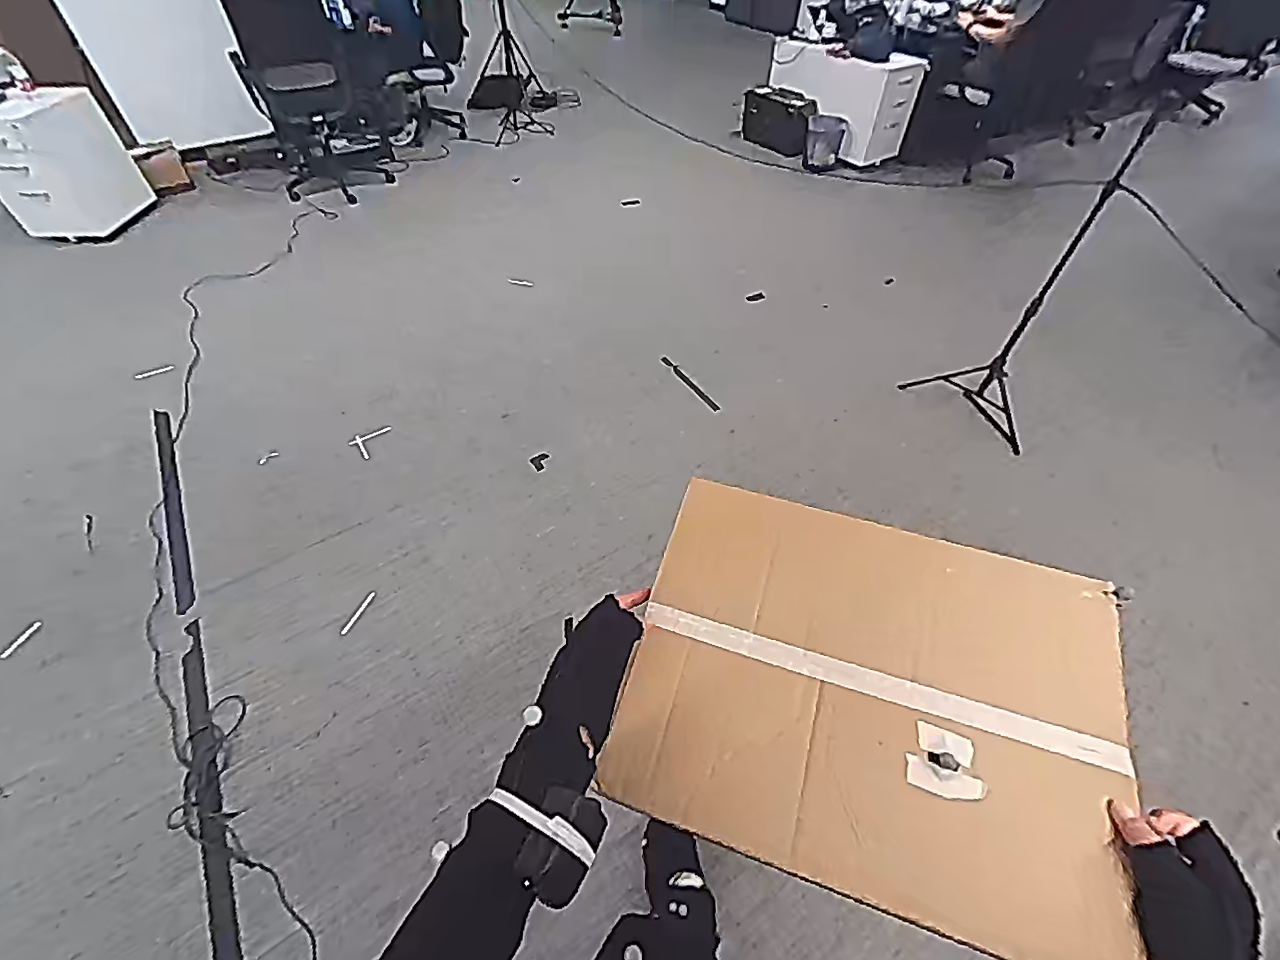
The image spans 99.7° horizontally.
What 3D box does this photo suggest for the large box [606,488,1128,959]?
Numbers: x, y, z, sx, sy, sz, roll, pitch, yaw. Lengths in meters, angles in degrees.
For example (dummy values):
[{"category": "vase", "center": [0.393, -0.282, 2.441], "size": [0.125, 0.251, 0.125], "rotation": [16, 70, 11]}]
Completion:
[{"category": "large box", "center": [0.210, 0.254, 0.616], "size": [0.408, 0.320, 0.320], "rotation": [15, 63, 13]}]
